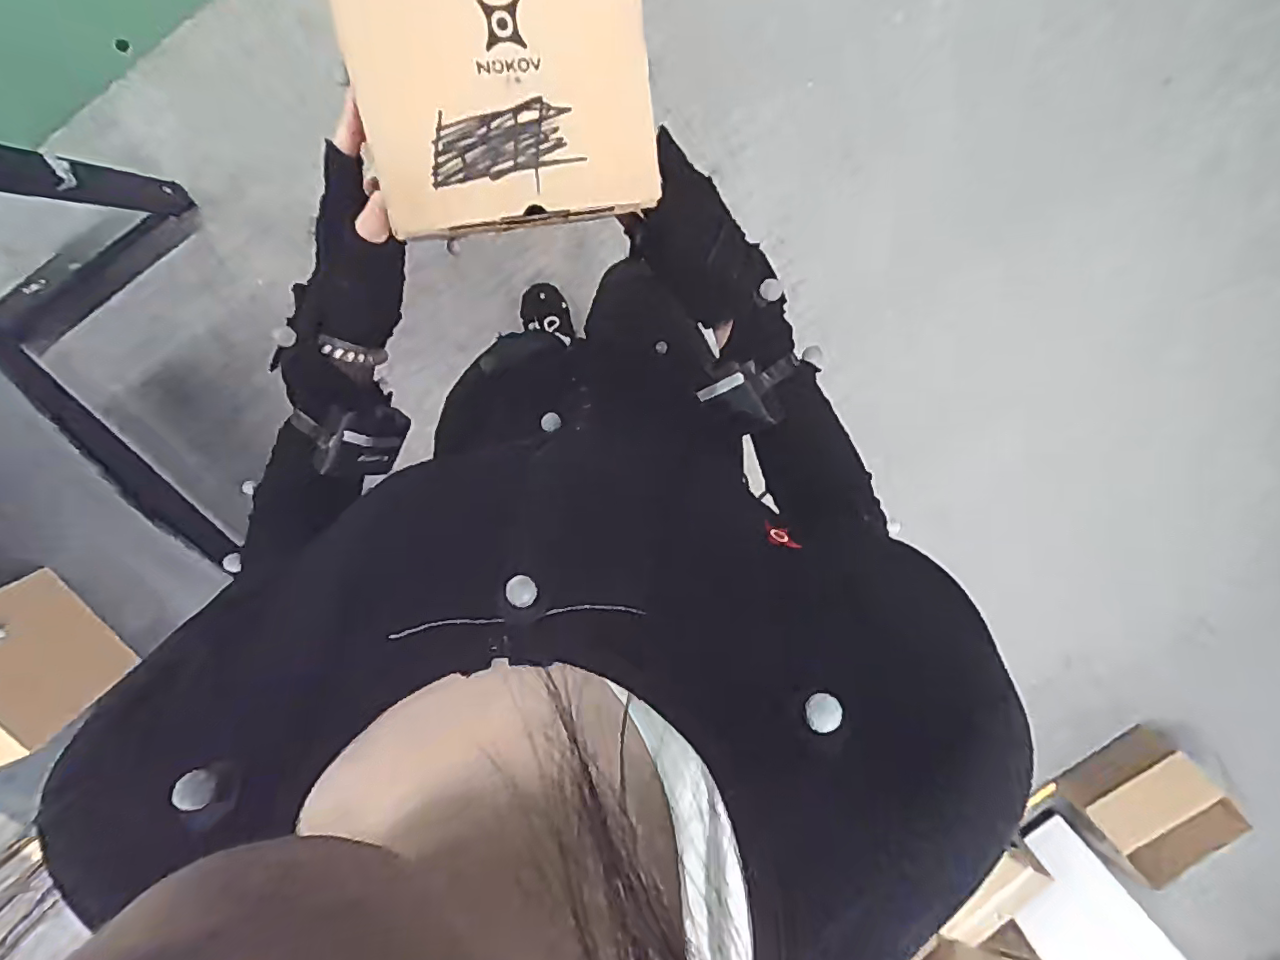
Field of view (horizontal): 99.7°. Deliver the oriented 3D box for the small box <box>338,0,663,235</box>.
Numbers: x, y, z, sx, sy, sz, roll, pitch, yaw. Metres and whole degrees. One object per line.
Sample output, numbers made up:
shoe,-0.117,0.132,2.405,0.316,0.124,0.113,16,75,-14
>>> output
small box,-0.094,-0.267,0.364,0.168,0.176,0.179,-14,115,-14
